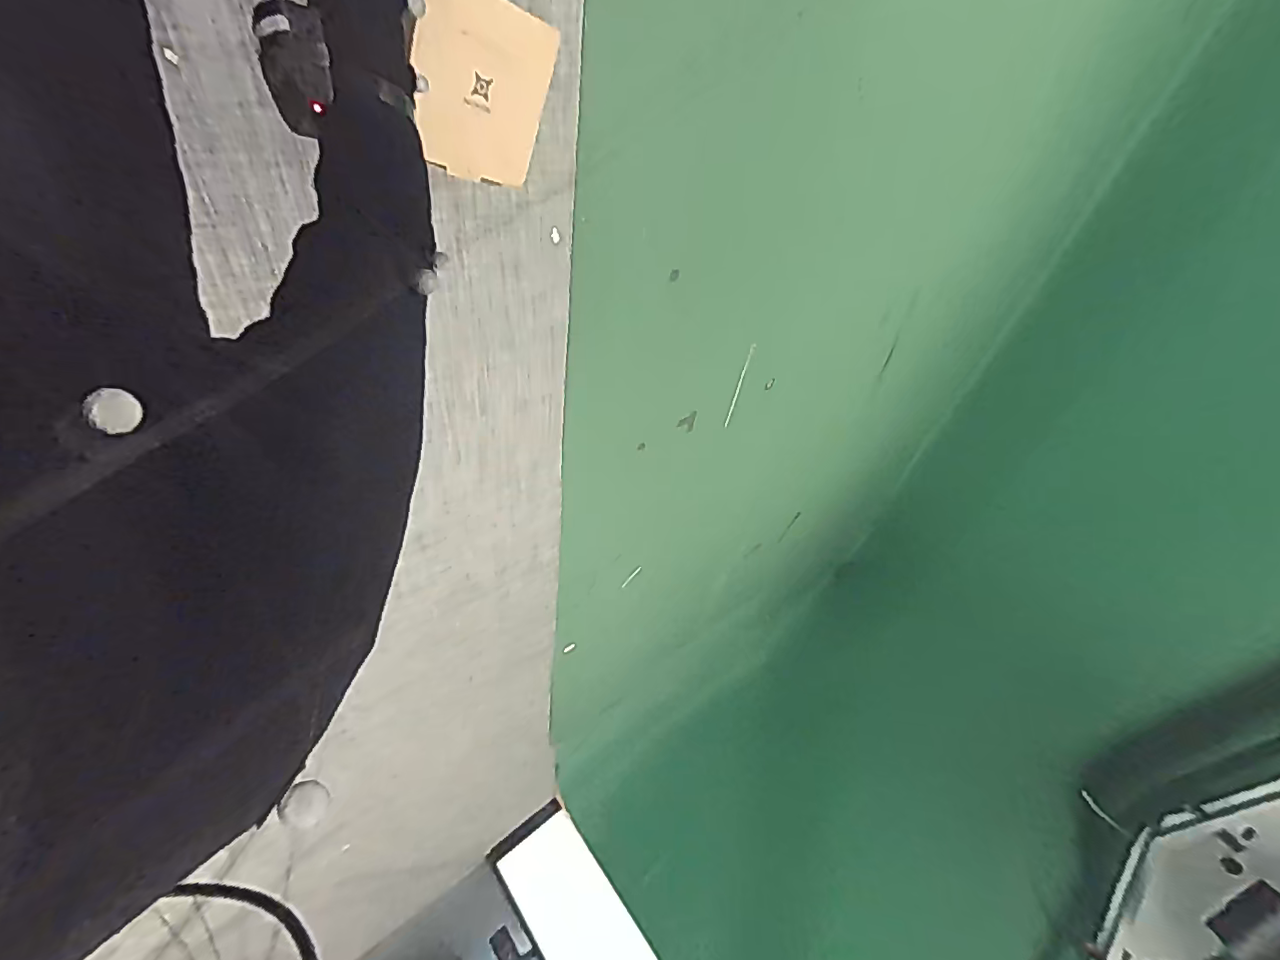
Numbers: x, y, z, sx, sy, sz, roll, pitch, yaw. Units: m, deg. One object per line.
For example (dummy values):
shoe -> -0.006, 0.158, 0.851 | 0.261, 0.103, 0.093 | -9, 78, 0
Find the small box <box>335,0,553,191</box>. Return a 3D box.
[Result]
small box -> -0.234, -0.475, 0.630 | 0.168, 0.176, 0.179 | -12, 135, -47
